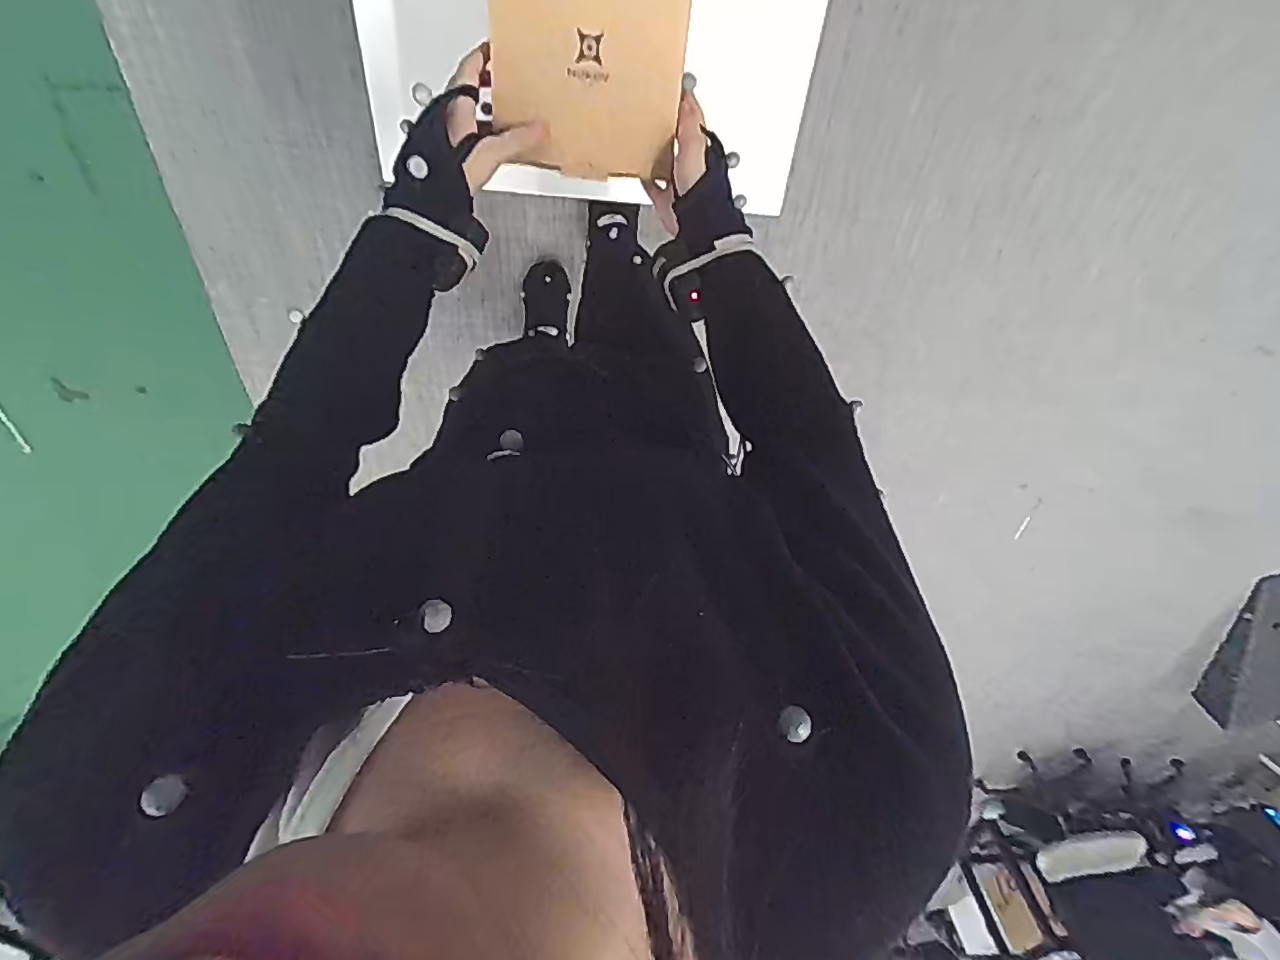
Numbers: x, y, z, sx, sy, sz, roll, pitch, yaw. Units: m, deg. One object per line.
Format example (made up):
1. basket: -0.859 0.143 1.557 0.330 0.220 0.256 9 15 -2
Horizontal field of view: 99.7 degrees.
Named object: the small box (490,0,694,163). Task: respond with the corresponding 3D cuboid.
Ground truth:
1. small box: -0.046 -0.412 0.510 0.168 0.176 0.179 3 123 -6
